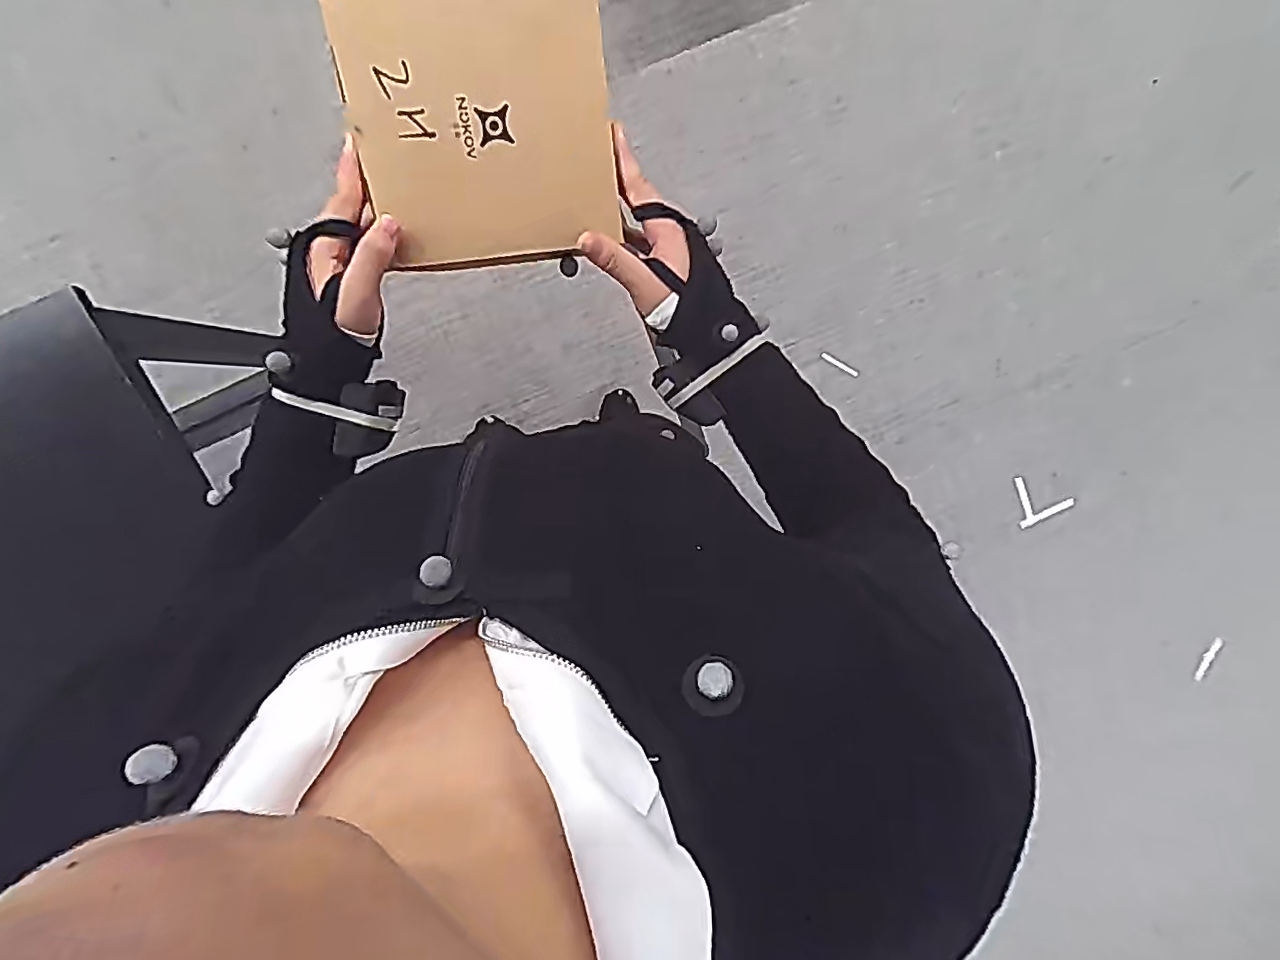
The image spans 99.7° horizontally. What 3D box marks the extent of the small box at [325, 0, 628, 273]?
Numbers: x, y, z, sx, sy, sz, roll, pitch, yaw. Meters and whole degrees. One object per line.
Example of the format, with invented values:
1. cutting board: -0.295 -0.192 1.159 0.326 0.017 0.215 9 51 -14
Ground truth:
1. small box: -0.107 -0.265 0.438 0.179 0.176 0.168 -7 111 0
